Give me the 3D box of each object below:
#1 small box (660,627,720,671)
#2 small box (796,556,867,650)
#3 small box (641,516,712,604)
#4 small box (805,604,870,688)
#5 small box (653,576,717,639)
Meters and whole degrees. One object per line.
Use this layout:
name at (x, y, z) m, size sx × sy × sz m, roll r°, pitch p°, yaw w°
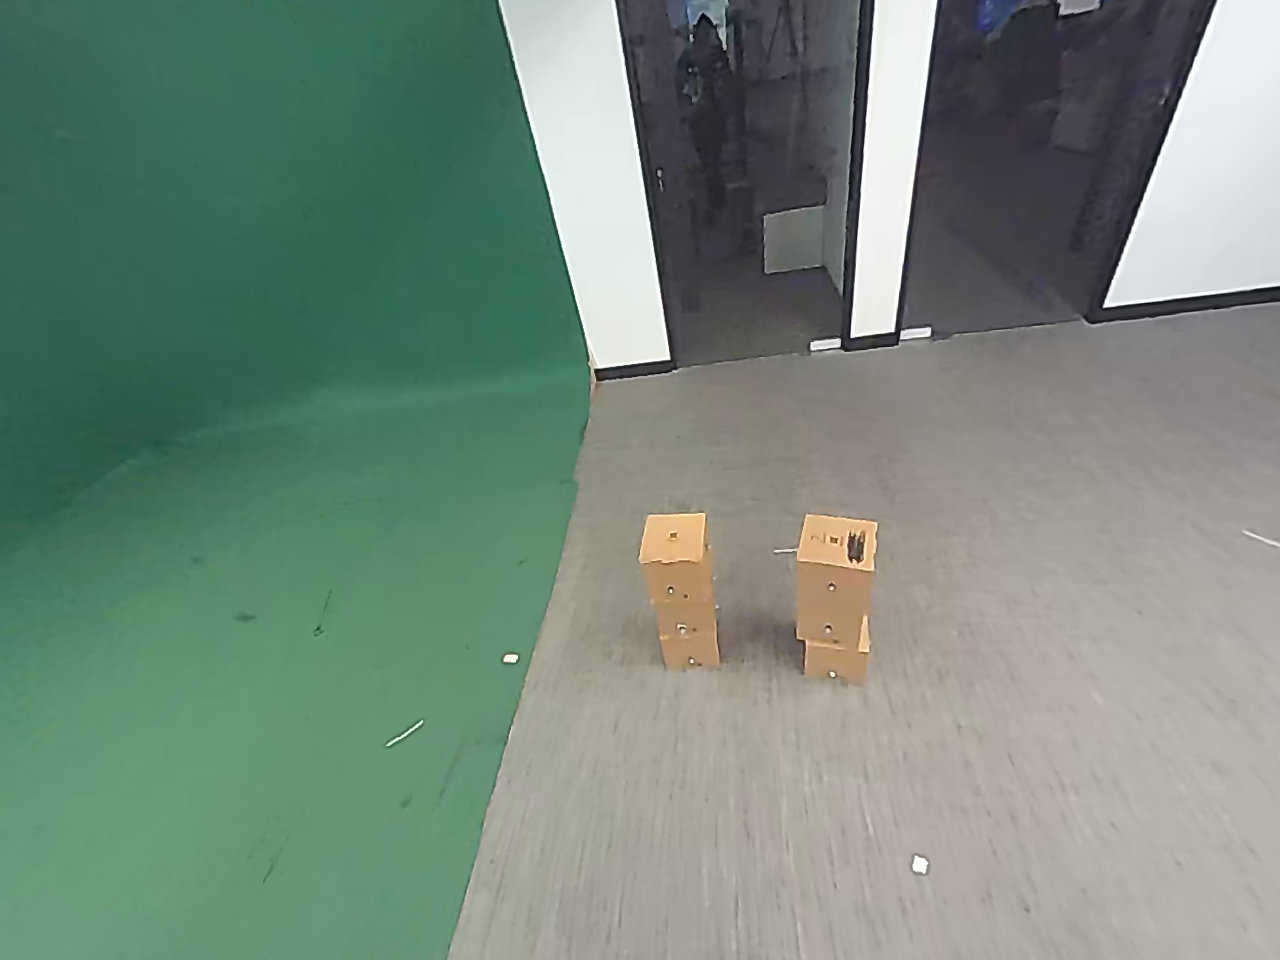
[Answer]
small box at (0.154, 0.467, 1.674) m, size 0.168 × 0.176 × 0.179 m, roll -7°, pitch 38°, yaw 7°
small box at (0.523, 0.336, 1.473) m, size 0.168 × 0.176 × 0.179 m, roll 5°, pitch 42°, yaw 21°
small box at (0.105, 0.216, 1.473) m, size 0.168 × 0.176 × 0.179 m, roll -3°, pitch 39°, yaw 13°
small box at (0.566, 0.468, 1.560) m, size 0.168 × 0.176 × 0.179 m, roll 2°, pitch 41°, yaw 18°
small box at (0.132, 0.339, 1.577) m, size 0.168 × 0.176 × 0.179 m, roll -7°, pitch 39°, yaw 8°
